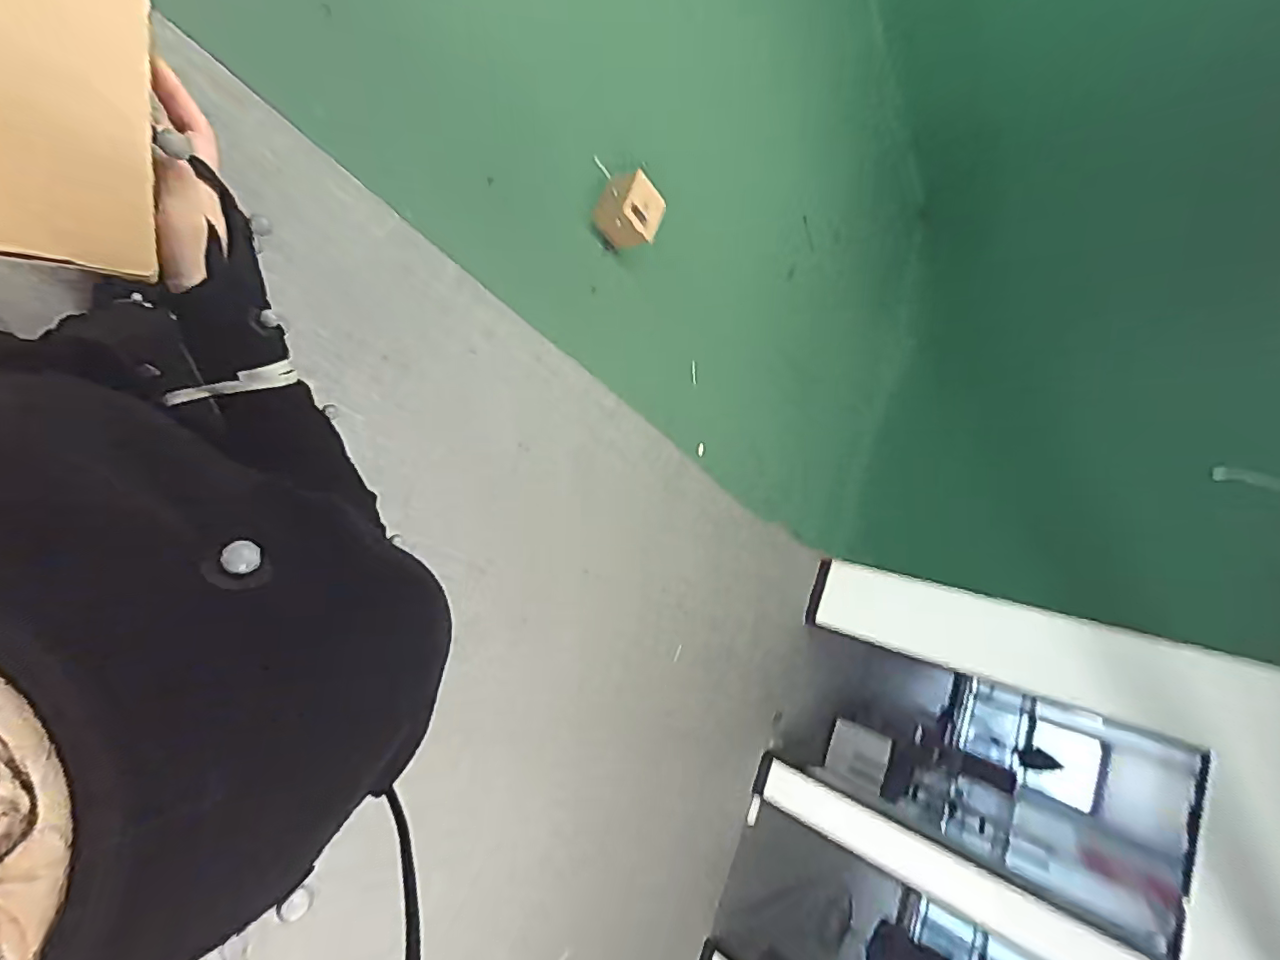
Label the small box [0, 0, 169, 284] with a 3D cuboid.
[{"bbox_3d":[-0.363,-0.215,0.279,0.168,0.176,0.179,0,107,-45],"label":"small box"}]
